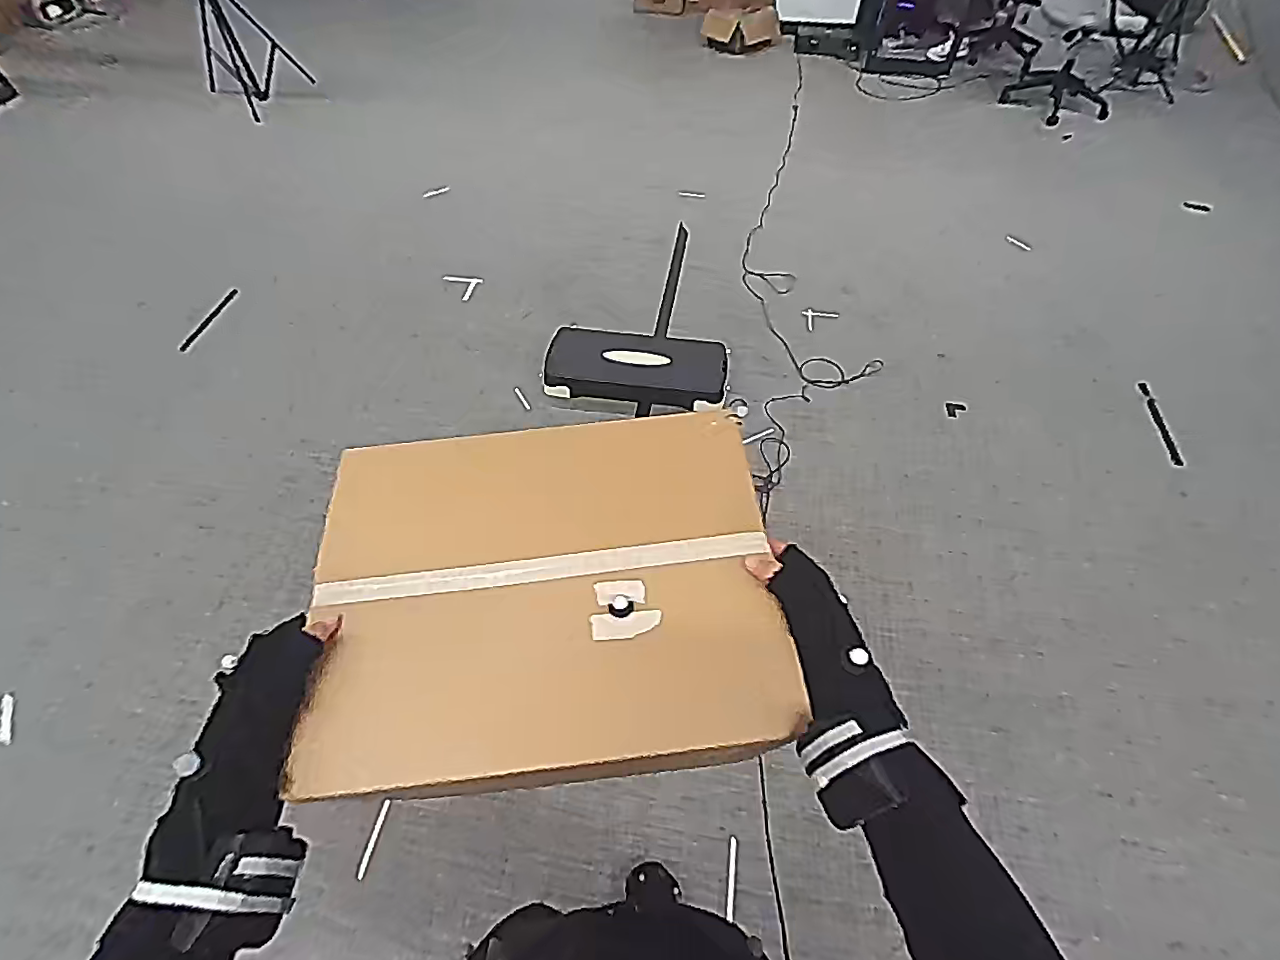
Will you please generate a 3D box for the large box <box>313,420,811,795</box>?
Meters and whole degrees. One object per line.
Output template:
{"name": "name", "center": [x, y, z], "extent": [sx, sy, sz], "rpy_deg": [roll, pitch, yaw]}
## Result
{"name": "large box", "center": [-0.071, 0.162, 0.627], "extent": [0.408, 0.320, 0.320], "rpy_deg": [-5, 59, -1]}
